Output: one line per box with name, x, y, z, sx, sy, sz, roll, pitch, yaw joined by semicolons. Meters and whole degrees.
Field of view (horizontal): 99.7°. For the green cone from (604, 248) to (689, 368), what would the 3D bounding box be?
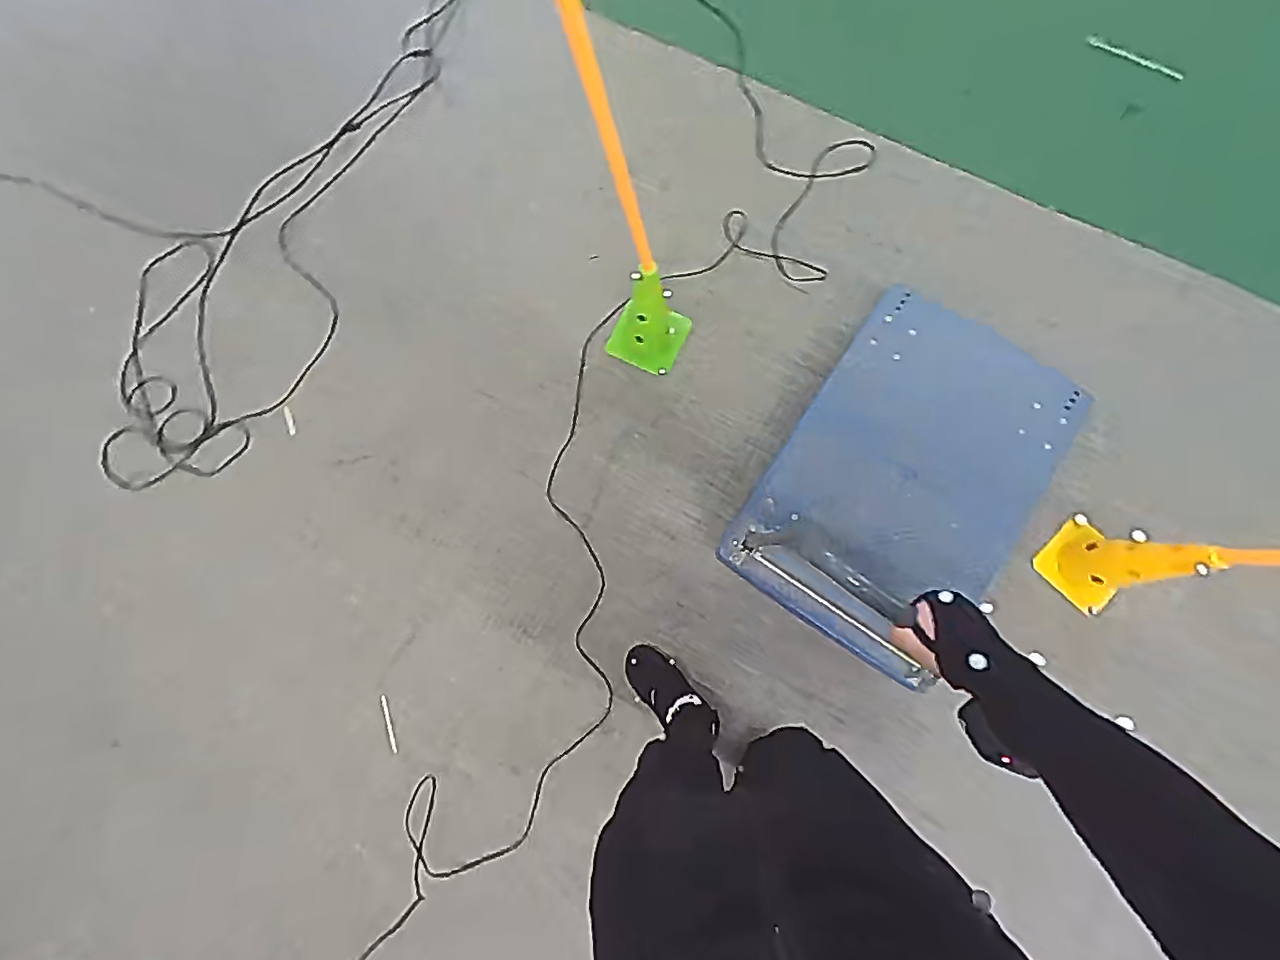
green cone;0.014;-0.472;1.393;0.202;0.368;0.200;24;80;7
